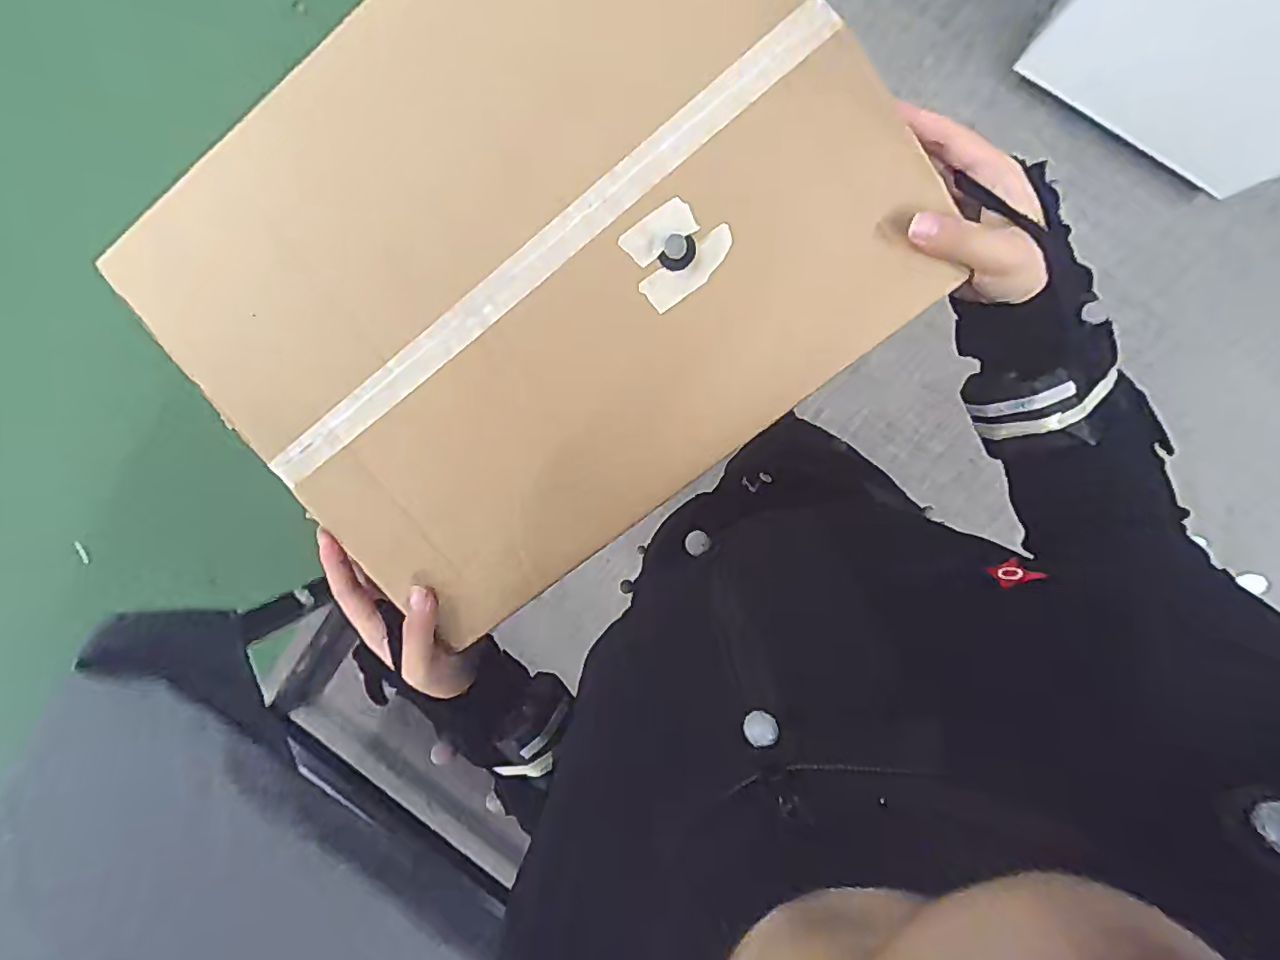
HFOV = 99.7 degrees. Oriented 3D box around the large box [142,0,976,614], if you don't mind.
[{"bbox_3d":[-0.049,-0.169,0.462,0.408,0.320,0.320,-36,99,6],"label":"large box"}]
